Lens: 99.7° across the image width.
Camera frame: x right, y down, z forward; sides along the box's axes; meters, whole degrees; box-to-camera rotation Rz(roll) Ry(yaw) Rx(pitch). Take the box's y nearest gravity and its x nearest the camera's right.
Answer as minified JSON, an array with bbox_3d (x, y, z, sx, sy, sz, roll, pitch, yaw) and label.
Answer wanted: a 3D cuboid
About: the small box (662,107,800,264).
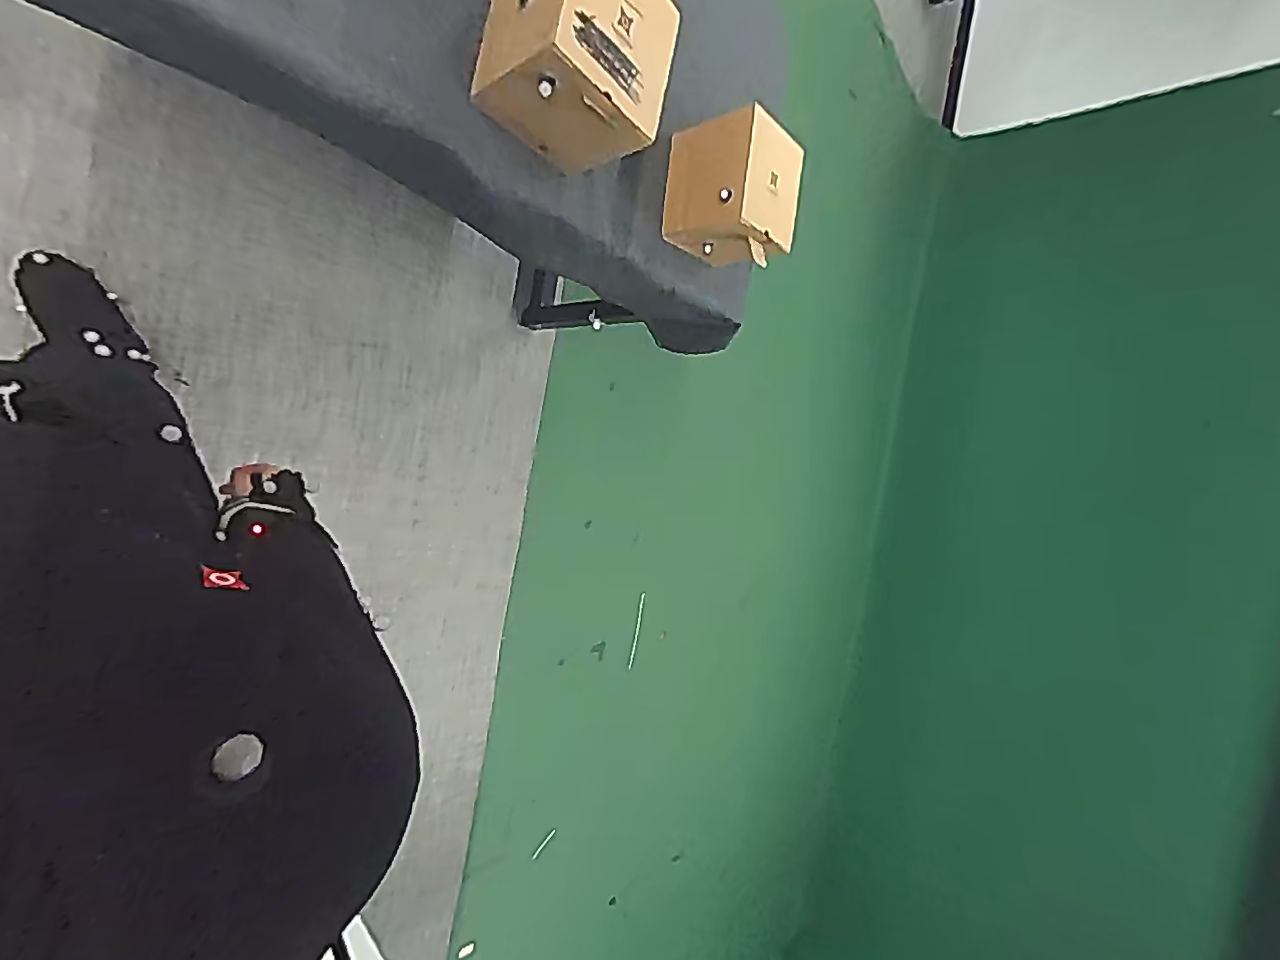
[{"bbox_3d":[0.156,-0.495,0.943,0.168,0.176,0.179,1,98,-48],"label":"small box"}]
